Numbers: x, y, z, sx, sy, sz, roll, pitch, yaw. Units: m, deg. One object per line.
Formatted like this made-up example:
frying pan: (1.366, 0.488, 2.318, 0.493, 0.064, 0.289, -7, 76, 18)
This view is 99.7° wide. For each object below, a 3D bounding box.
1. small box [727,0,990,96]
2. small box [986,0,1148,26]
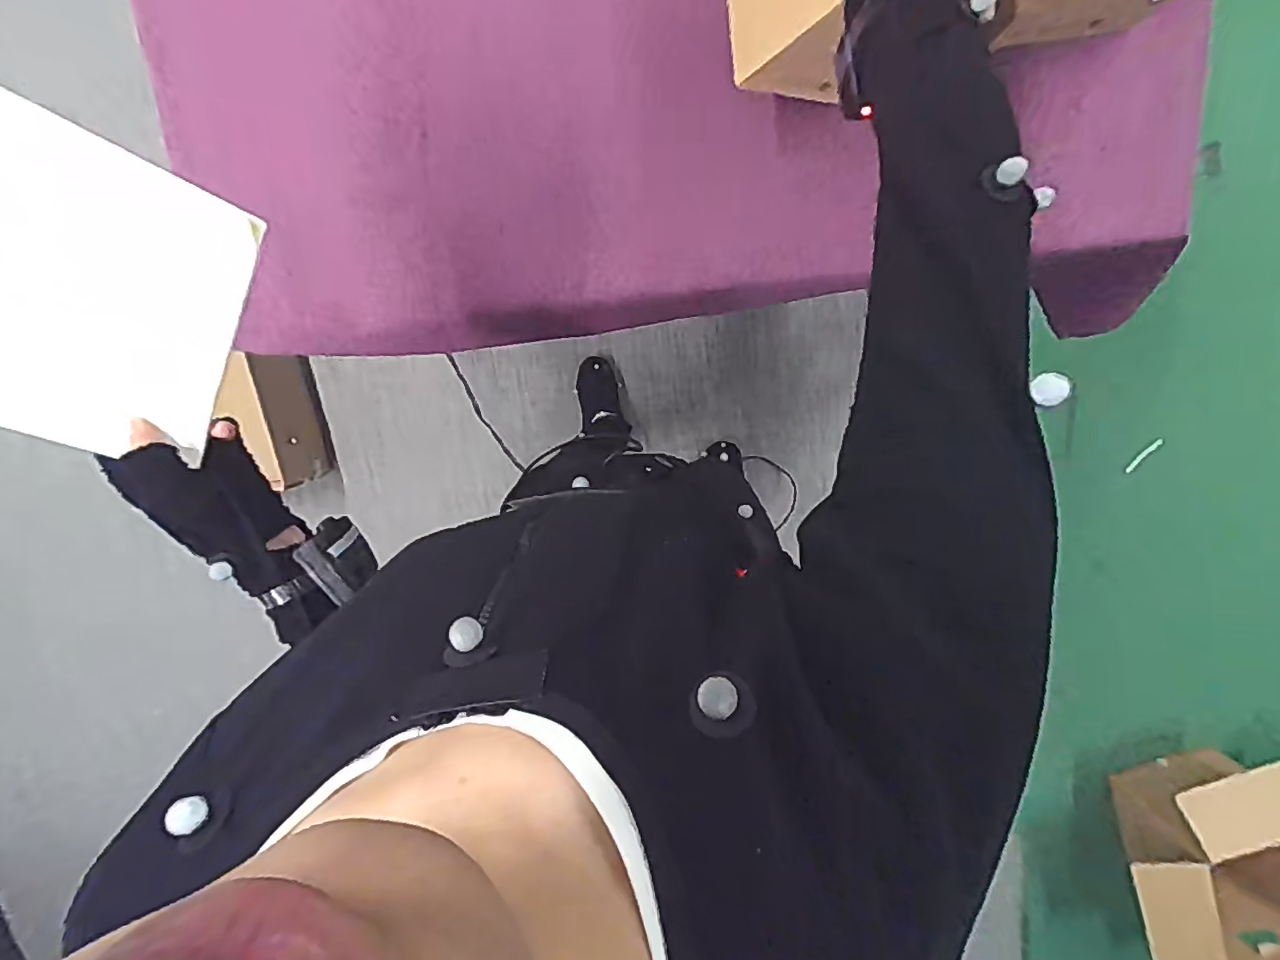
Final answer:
small box: (0.192, -0.496, 0.503, 0.168, 0.176, 0.179, -13, 102, -26)
small box: (0.458, -0.573, 0.512, 0.168, 0.176, 0.179, -6, 102, 2)
